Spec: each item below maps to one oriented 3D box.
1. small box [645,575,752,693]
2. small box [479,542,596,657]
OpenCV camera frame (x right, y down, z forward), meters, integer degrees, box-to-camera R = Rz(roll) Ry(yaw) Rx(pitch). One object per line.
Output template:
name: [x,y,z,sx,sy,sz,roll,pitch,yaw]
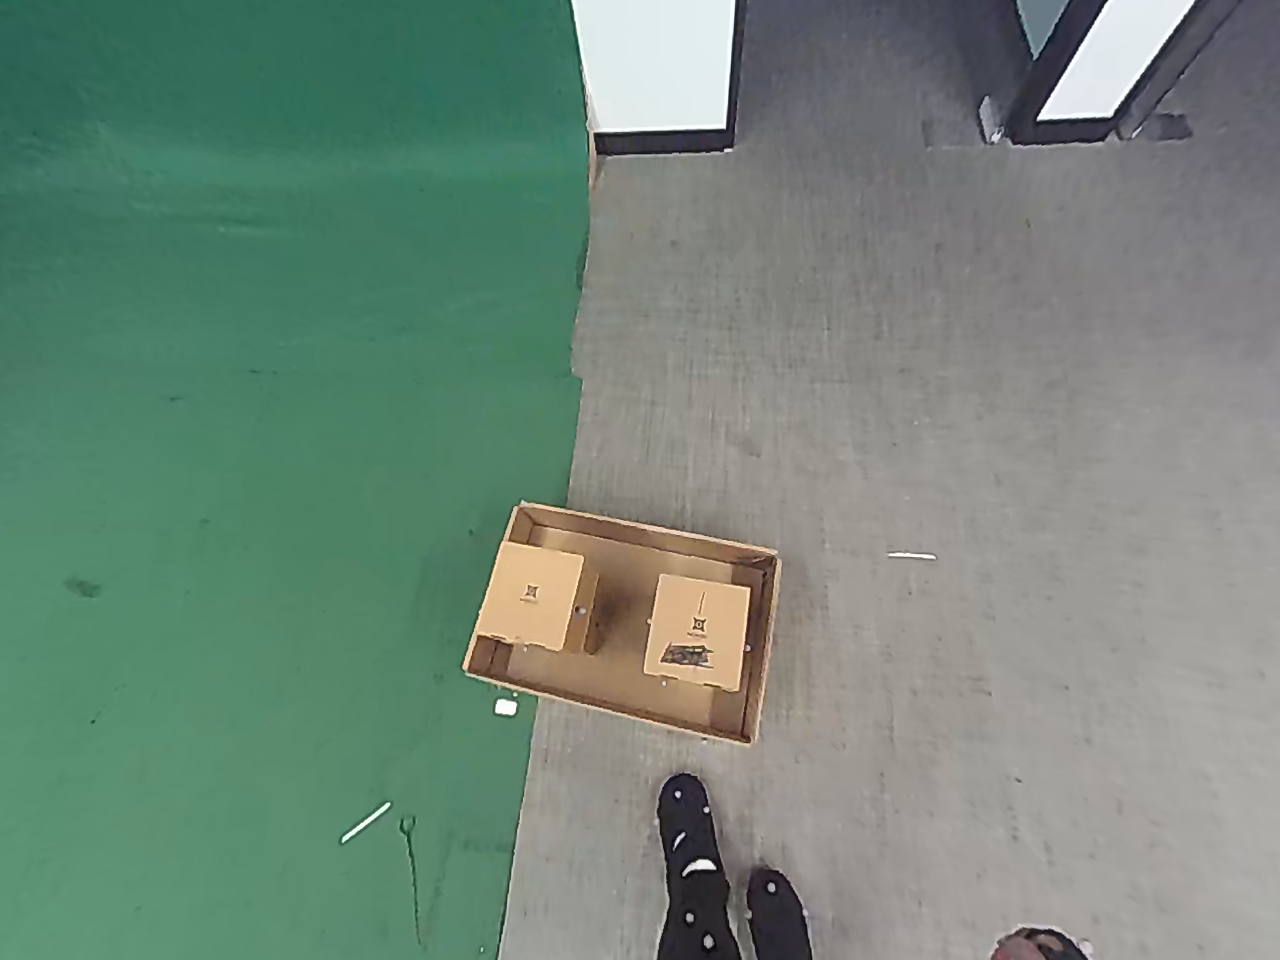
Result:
small box: [0.110,0.291,1.009,0.168,0.176,0.179,8,69,8]
small box: [-0.188,0.239,1.059,0.168,0.176,0.179,10,71,8]
